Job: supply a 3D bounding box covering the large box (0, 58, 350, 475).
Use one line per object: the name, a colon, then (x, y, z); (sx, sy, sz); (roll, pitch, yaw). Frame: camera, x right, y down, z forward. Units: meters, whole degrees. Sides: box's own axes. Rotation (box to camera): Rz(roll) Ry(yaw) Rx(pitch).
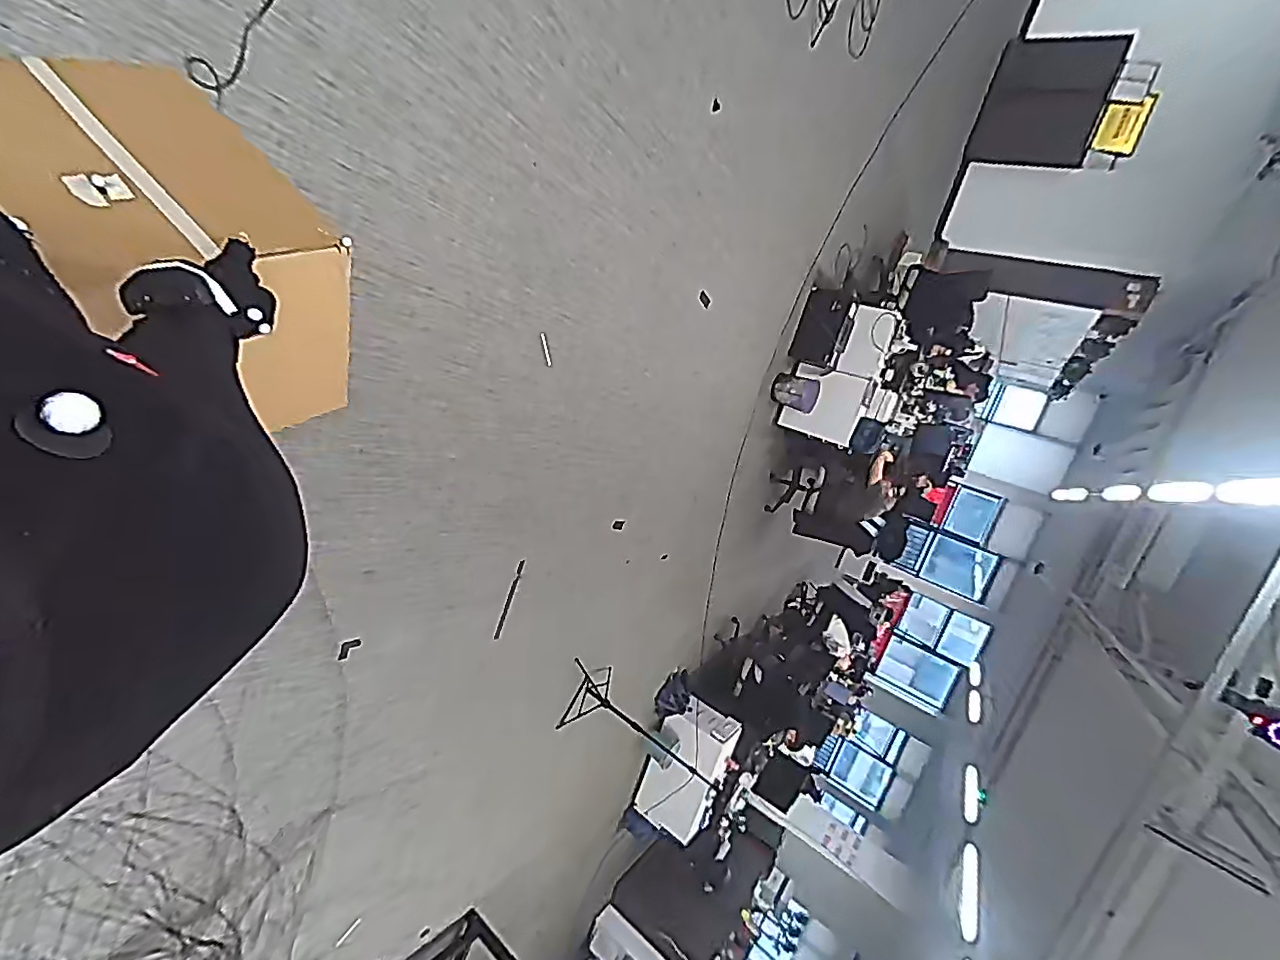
large box: (-0.671, -0.289, 0.743); (0.320, 0.408, 0.320); (-38, 170, -42)
